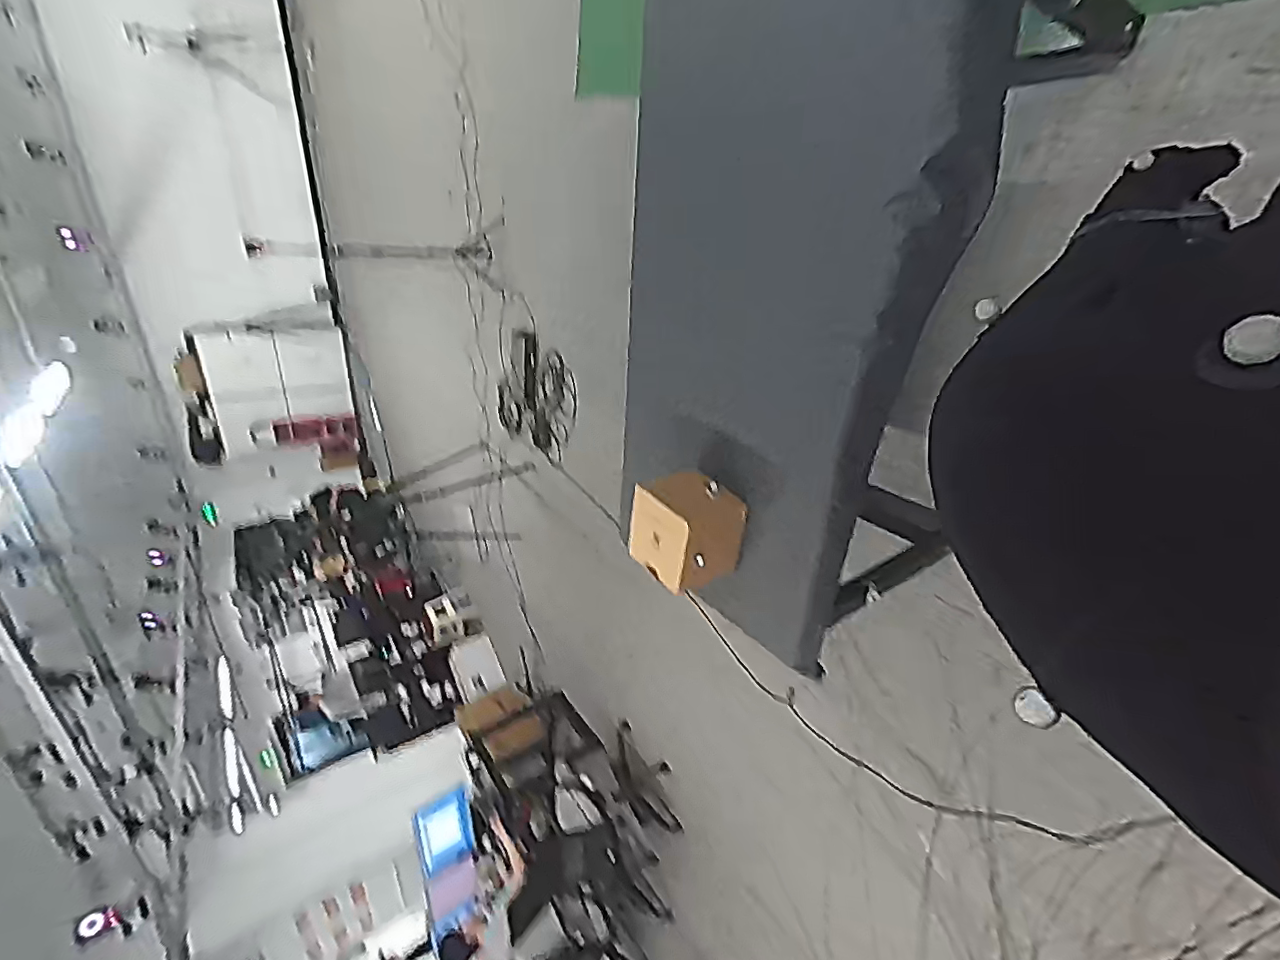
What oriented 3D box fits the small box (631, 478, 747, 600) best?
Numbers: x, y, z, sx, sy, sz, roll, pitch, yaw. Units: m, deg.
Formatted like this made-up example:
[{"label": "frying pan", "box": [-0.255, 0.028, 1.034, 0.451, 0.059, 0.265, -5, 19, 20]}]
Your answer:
[{"label": "small box", "box": [0.102, 0.116, 1.138, 0.168, 0.176, 0.179, 34, 127, 42]}]
